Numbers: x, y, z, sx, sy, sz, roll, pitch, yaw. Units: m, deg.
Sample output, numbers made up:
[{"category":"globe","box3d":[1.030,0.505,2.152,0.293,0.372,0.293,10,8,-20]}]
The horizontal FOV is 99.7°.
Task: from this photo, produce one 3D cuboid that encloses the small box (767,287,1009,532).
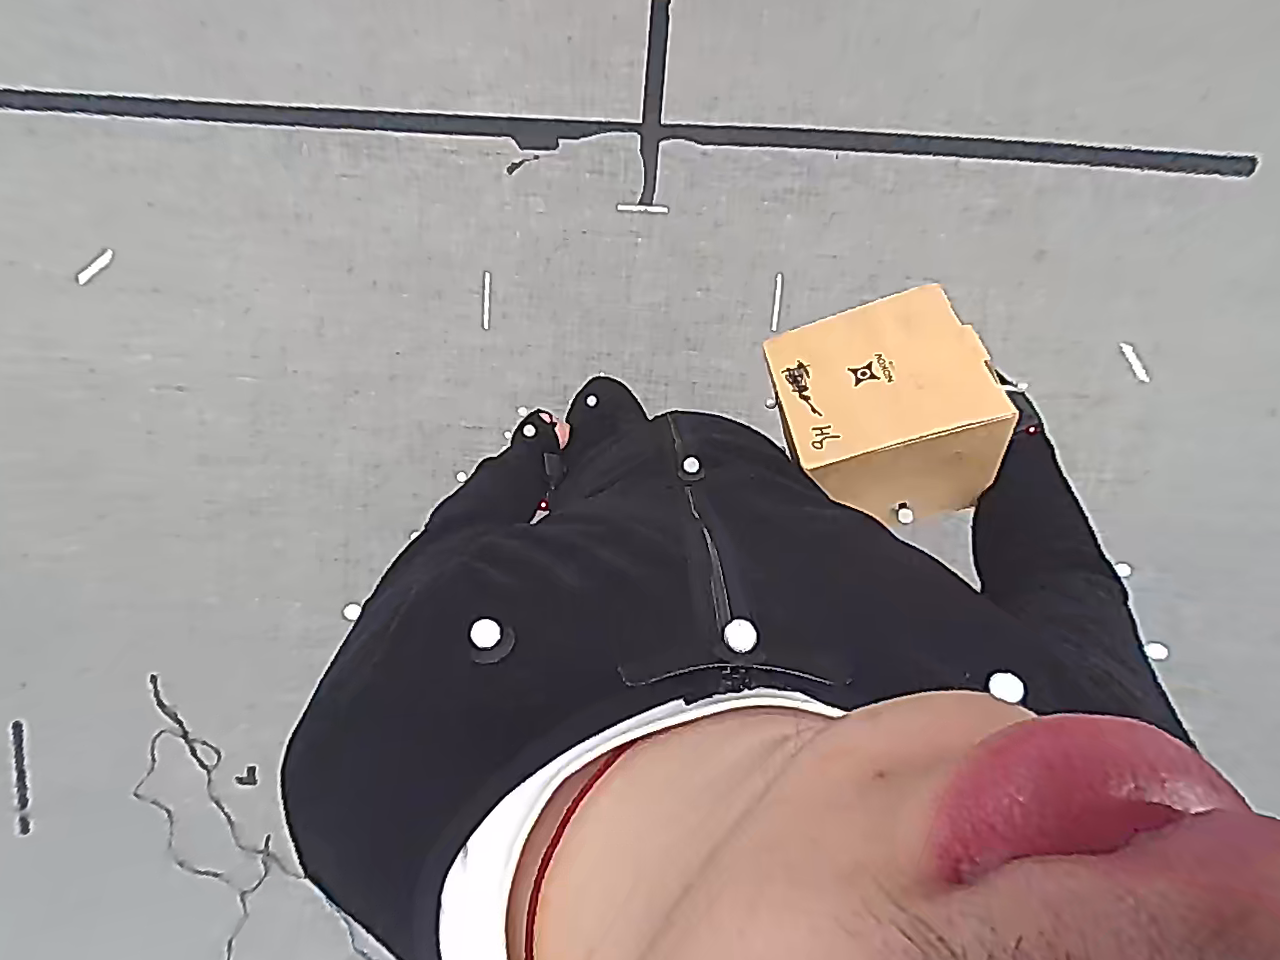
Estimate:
[{"category":"small box","box3d":[0.249,-0.064,0.579,0.179,0.176,0.168,-16,56,14]}]
